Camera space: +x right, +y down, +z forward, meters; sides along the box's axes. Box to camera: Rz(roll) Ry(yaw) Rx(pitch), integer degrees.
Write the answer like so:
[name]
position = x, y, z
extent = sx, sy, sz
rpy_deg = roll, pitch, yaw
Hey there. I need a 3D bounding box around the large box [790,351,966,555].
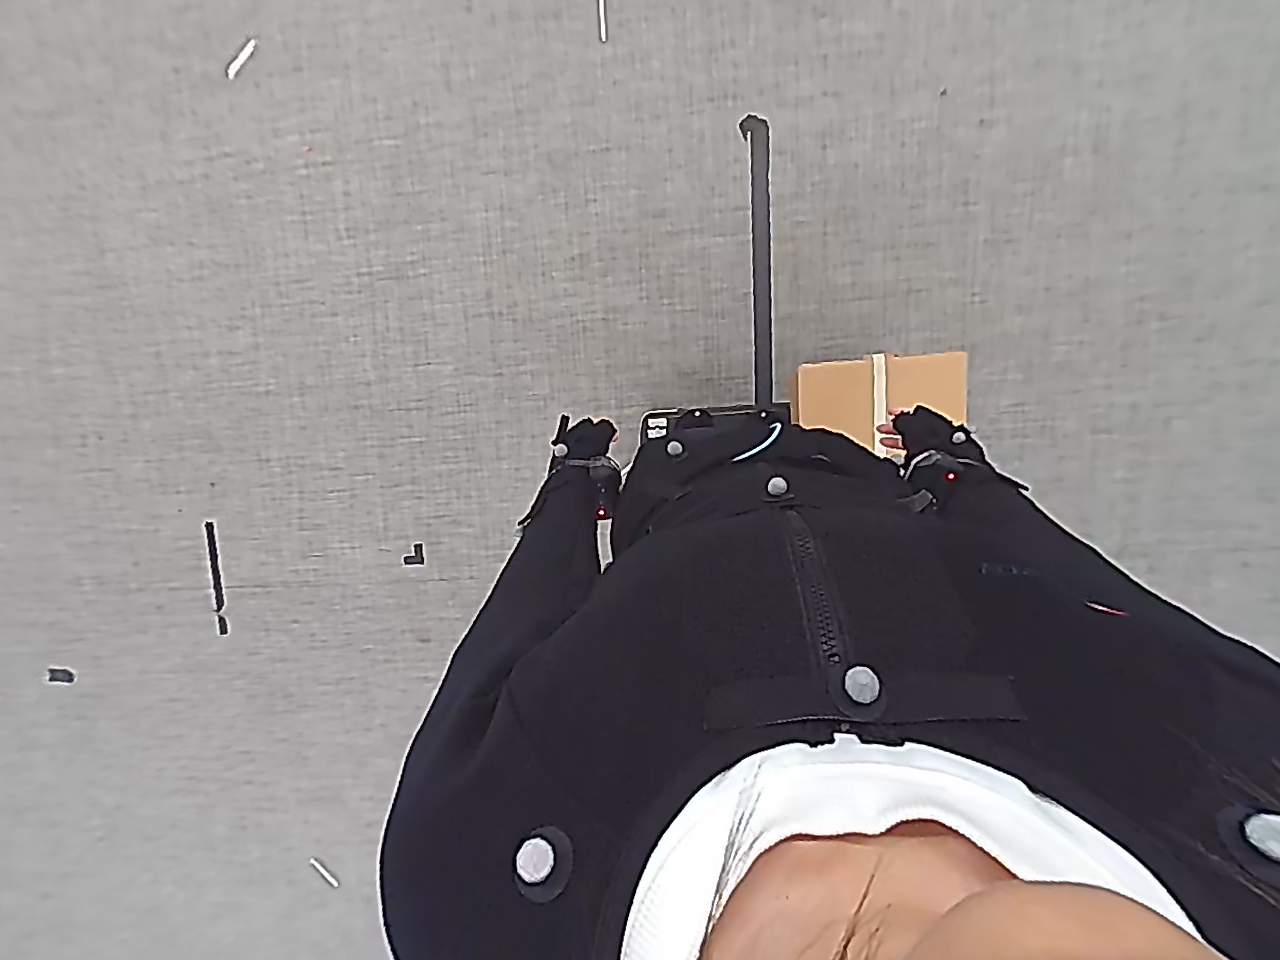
[large box]
position = 0.520, -0.068, 1.238
extent = 0.320, 0.320, 0.408
rpy_deg = -2, 99, 14
